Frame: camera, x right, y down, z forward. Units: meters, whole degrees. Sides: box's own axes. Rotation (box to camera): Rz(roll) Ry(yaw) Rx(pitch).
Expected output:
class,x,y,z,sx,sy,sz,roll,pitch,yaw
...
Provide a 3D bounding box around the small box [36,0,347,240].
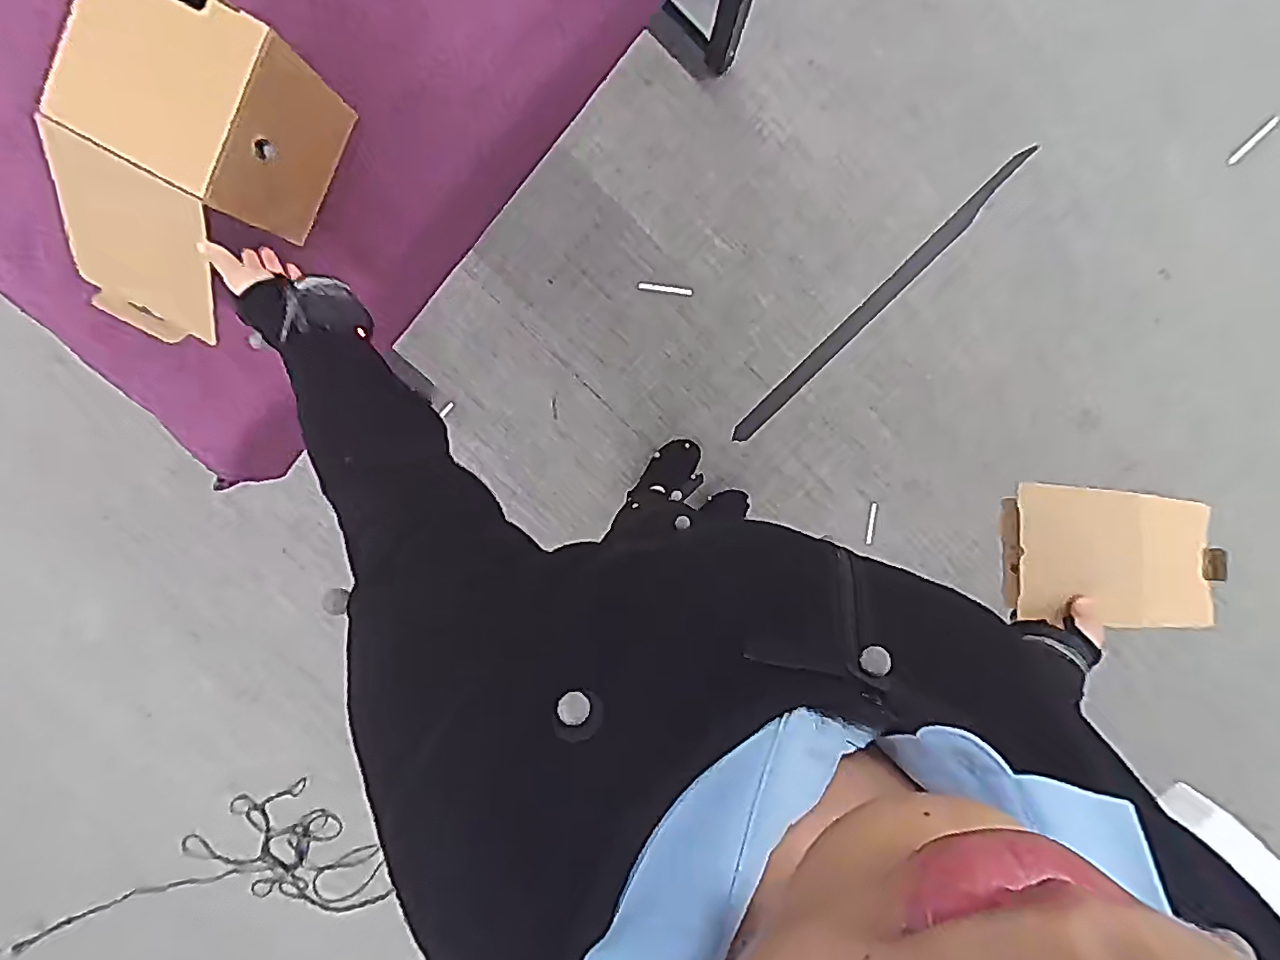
class,x,y,z,sx,sy,sz,roll,pitch,yaw
small box,-0.453,-0.390,0.578,0.168,0.176,0.179,28,97,-6
